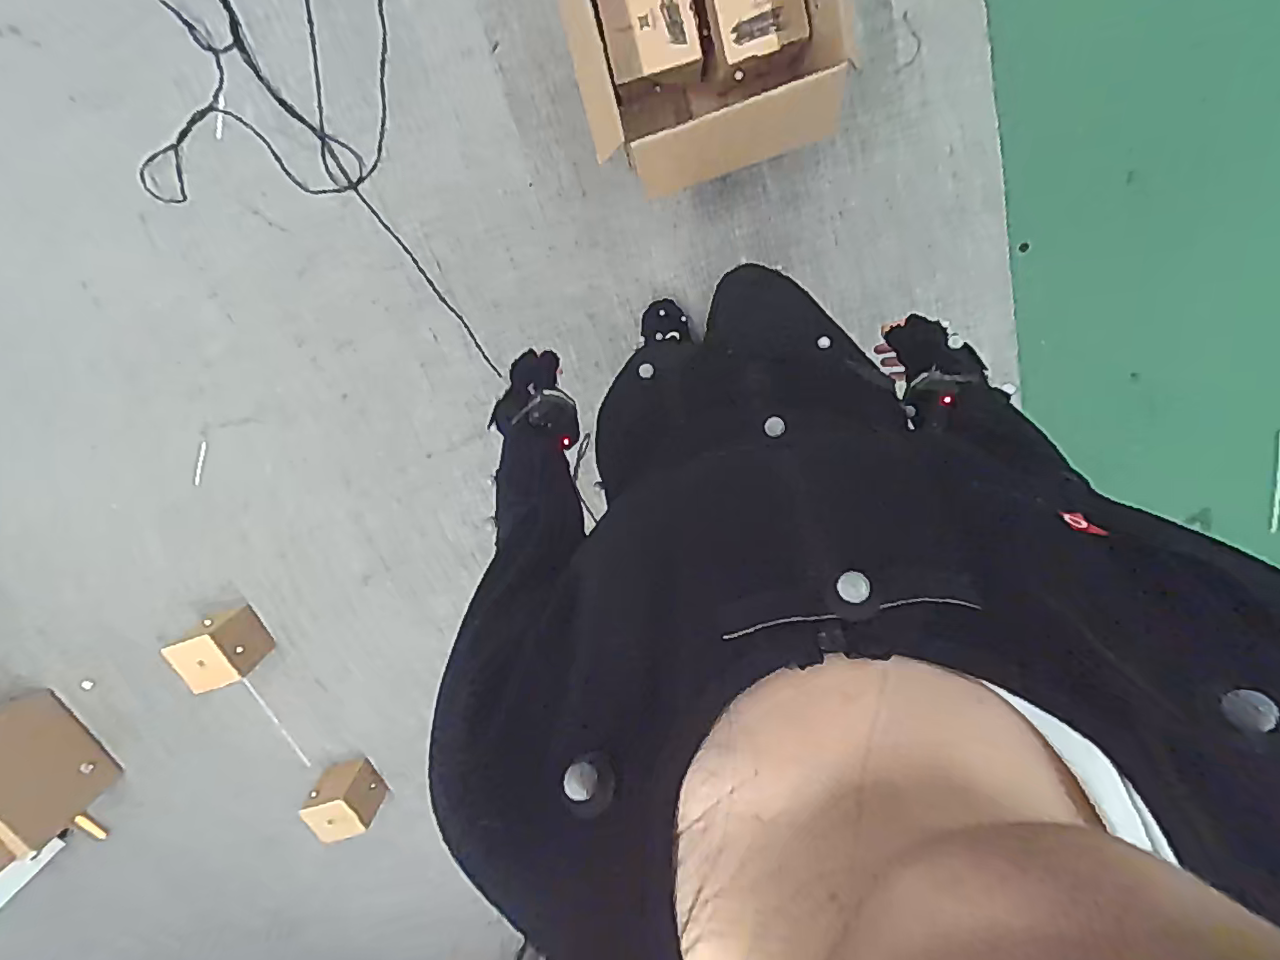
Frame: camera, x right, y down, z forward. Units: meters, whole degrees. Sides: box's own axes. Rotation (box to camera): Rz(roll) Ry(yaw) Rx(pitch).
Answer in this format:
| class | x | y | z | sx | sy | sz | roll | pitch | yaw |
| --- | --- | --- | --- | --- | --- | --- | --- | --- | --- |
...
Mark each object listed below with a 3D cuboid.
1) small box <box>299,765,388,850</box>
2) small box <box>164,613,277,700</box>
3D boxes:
| class | x | y | z | sx | sy | sz | roll | pitch | yaw |
| --- | --- | --- | --- | --- | --- | --- | --- | --- | --- |
| small box | -1.014 | 1.126 | 1.866 | 0.179 | 0.176 | 0.168 | -19 | 109 | 8 |
| small box | -1.267 | 0.528 | 1.646 | 0.168 | 0.176 | 0.179 | -19 | 110 | 7 |
